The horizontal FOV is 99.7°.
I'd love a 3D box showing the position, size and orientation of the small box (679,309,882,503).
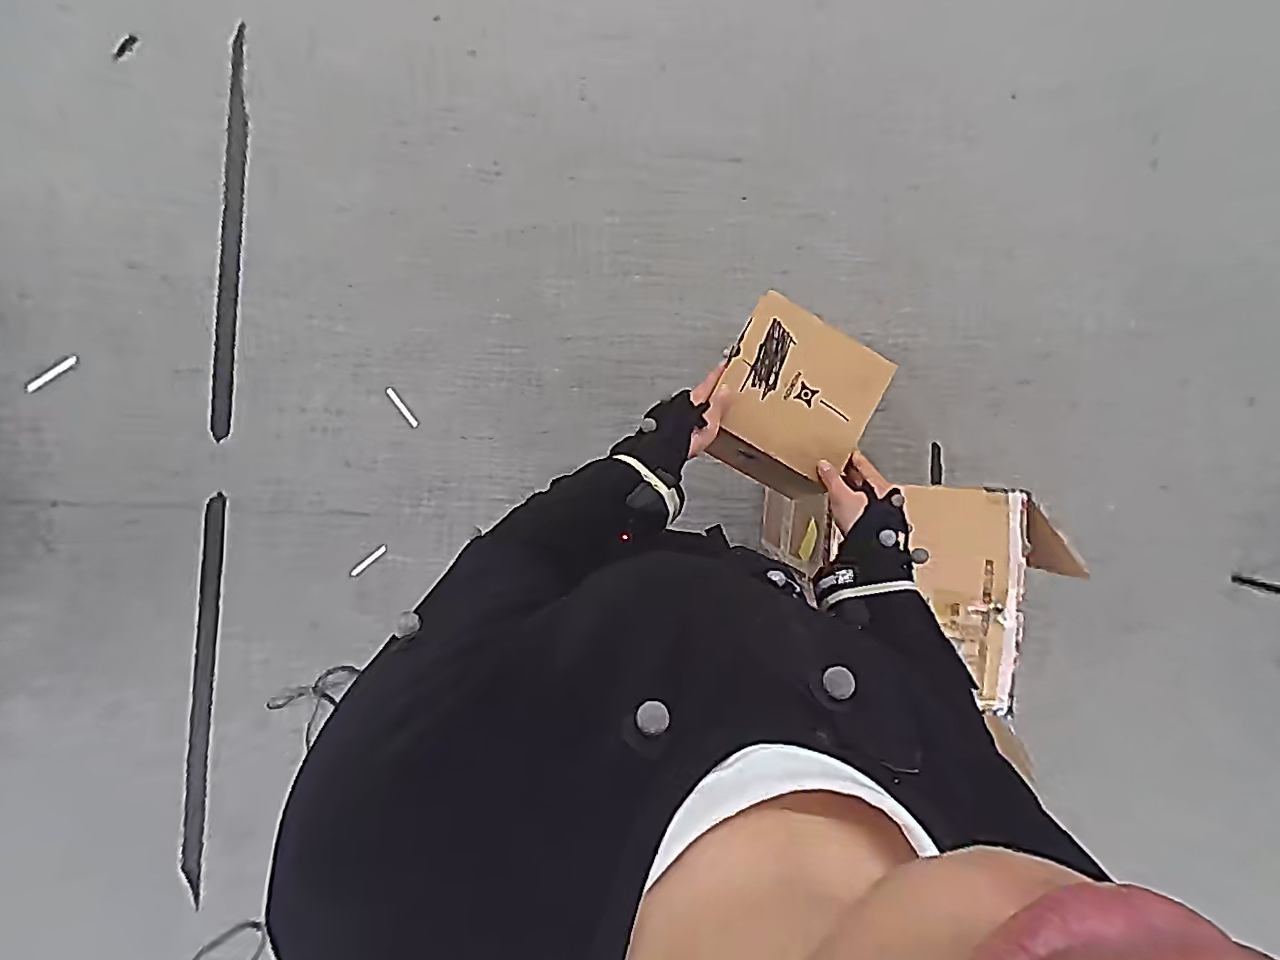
[{"bbox_3d":[0.164,-0.080,0.694,0.179,0.176,0.168,29,83,2],"label":"small box"}]
